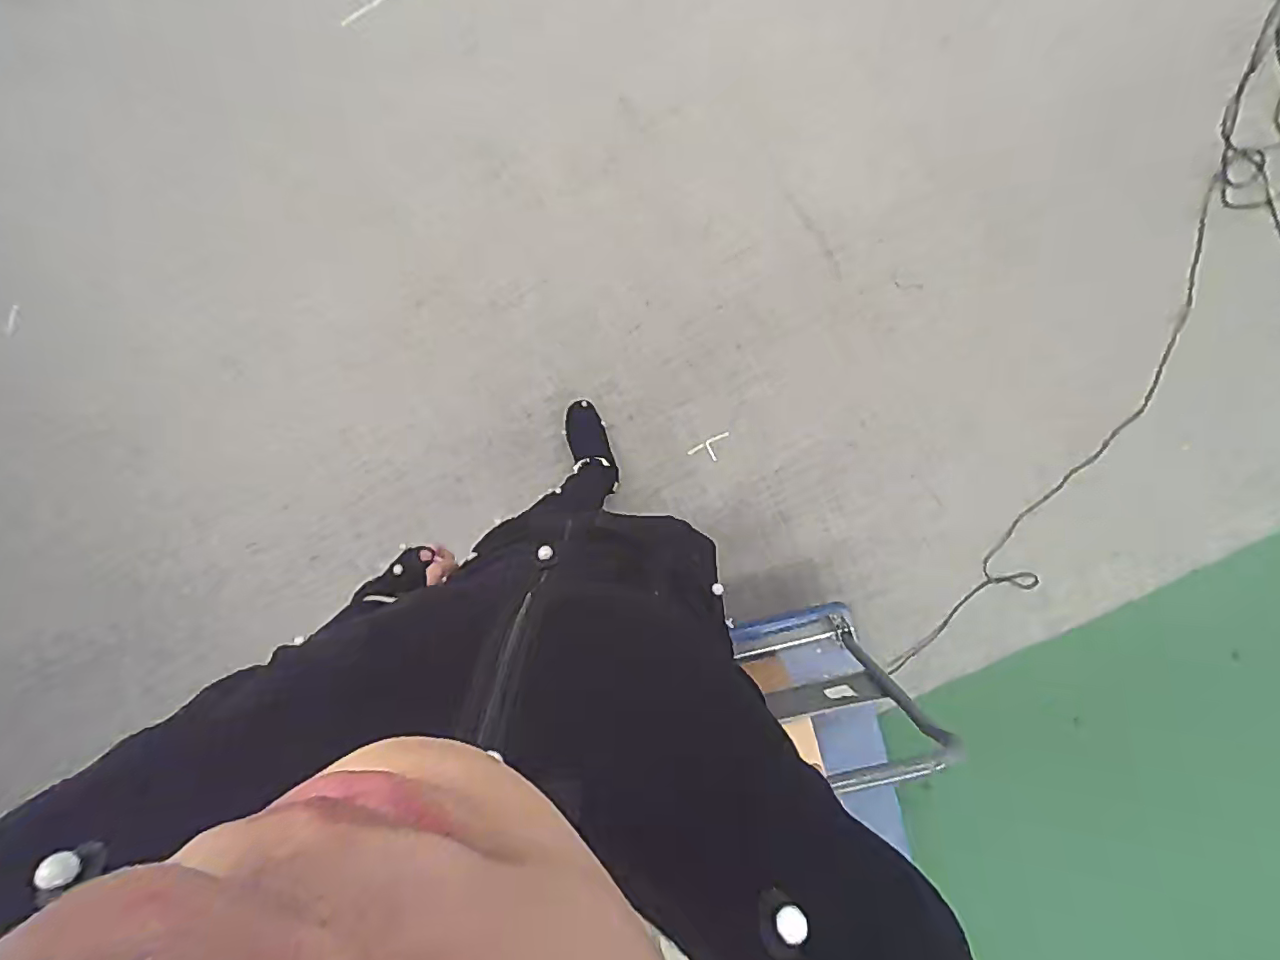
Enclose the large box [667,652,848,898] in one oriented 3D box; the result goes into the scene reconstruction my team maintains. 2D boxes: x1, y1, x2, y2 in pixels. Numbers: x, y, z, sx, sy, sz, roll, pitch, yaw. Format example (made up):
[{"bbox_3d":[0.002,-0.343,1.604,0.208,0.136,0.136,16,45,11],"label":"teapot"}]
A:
[{"bbox_3d":[0.273,0.714,1.362,0.320,0.320,0.408,-16,96,3],"label":"large box"}]
